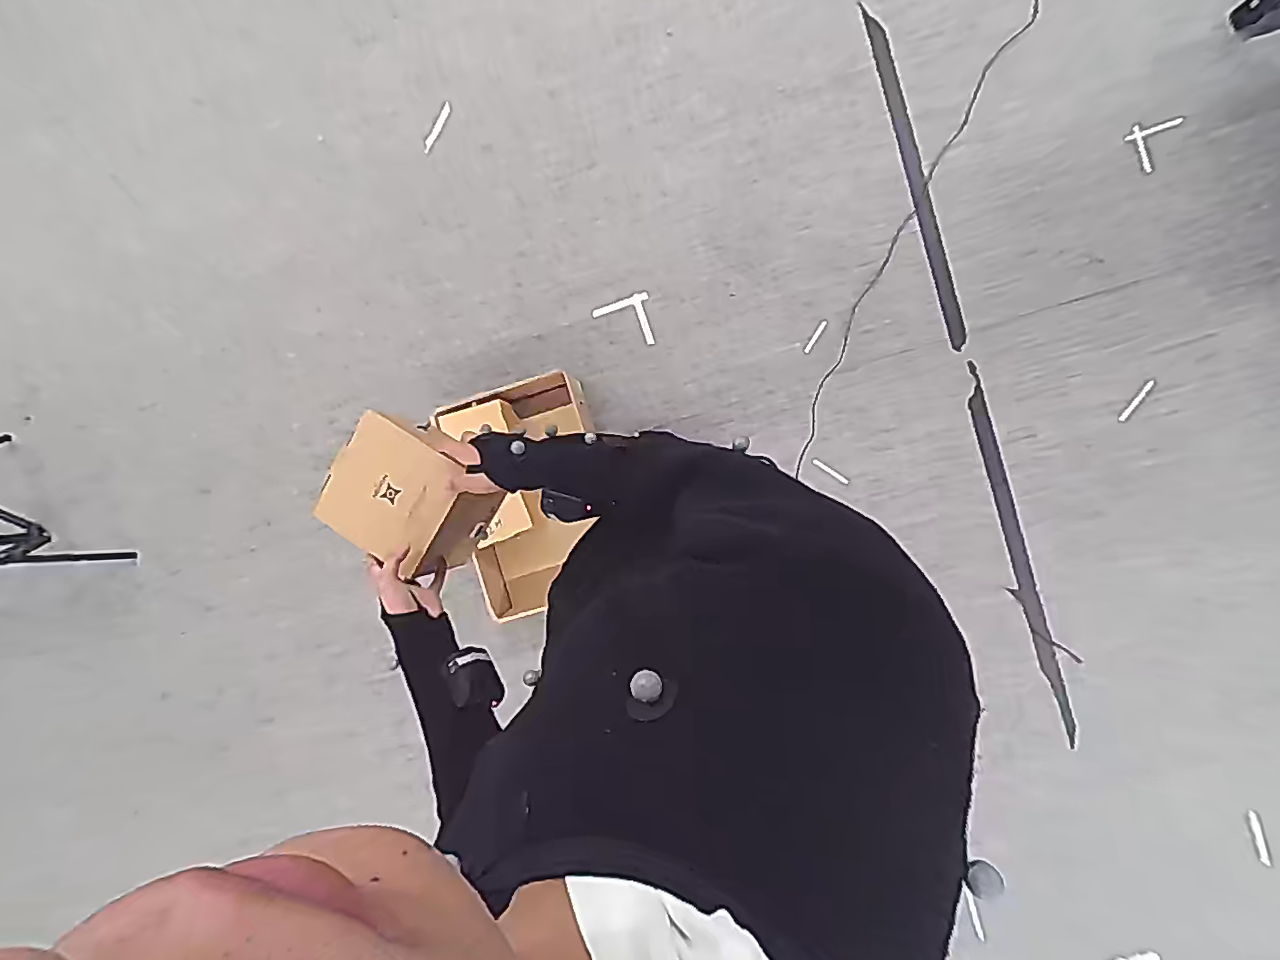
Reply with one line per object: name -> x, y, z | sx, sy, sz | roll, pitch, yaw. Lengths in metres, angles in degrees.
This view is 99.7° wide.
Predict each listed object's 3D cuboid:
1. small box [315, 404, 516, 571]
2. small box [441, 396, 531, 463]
small box -> -0.316, 0.013, 0.795 | 0.179, 0.176, 0.168 | 31, 93, 8
small box -> -0.429, -0.126, 1.532 | 0.179, 0.176, 0.168 | -16, 91, 2
